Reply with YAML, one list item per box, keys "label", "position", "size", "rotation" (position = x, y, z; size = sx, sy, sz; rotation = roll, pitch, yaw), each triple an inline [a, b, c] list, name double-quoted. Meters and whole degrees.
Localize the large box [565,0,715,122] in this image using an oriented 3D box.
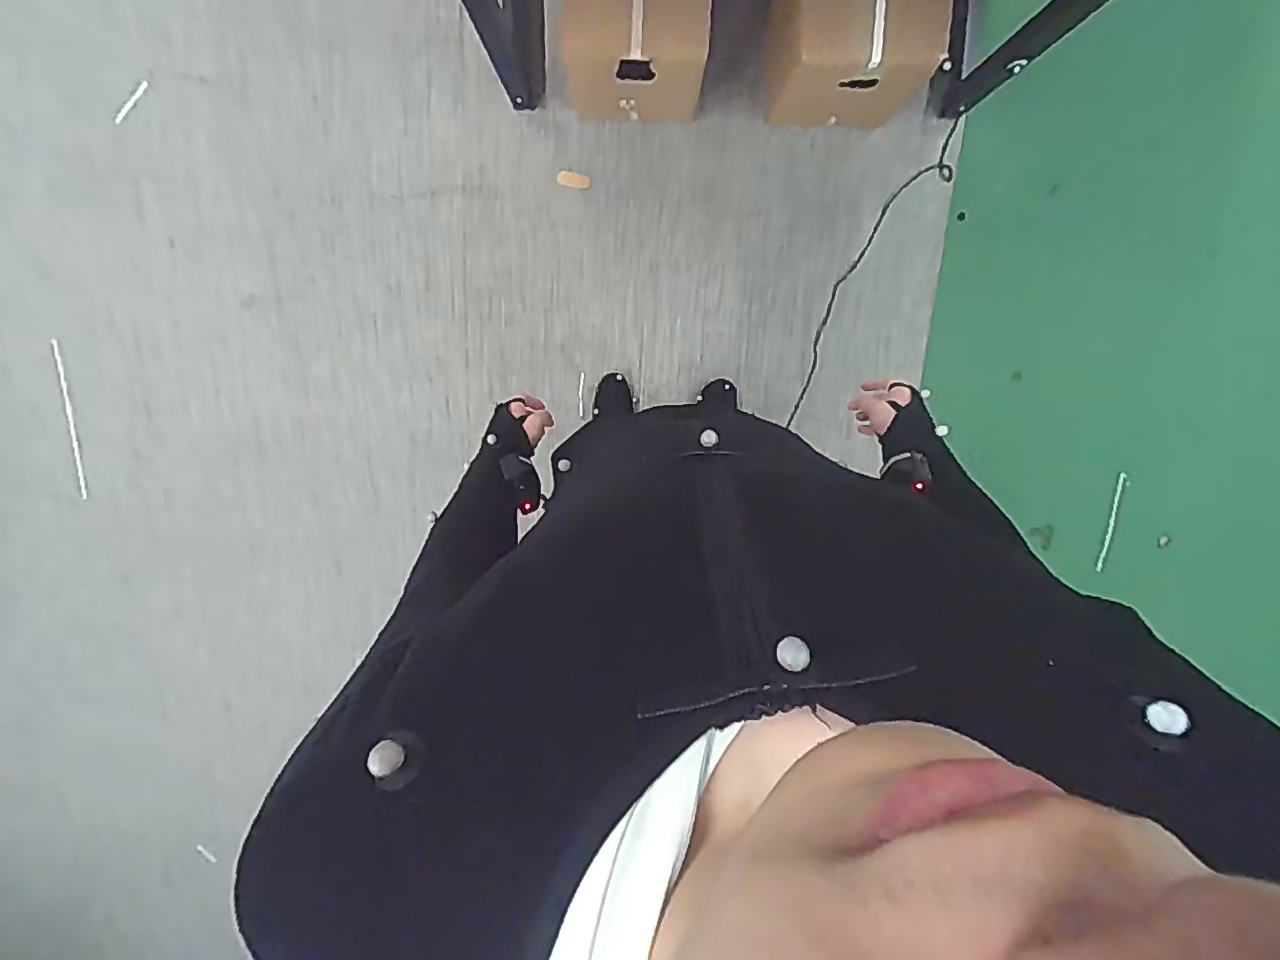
- label: "large box"
  position: [0.004, -1.112, 1.248]
  size: [0.320, 0.320, 0.408]
  rotation: [2, 101, -1]
